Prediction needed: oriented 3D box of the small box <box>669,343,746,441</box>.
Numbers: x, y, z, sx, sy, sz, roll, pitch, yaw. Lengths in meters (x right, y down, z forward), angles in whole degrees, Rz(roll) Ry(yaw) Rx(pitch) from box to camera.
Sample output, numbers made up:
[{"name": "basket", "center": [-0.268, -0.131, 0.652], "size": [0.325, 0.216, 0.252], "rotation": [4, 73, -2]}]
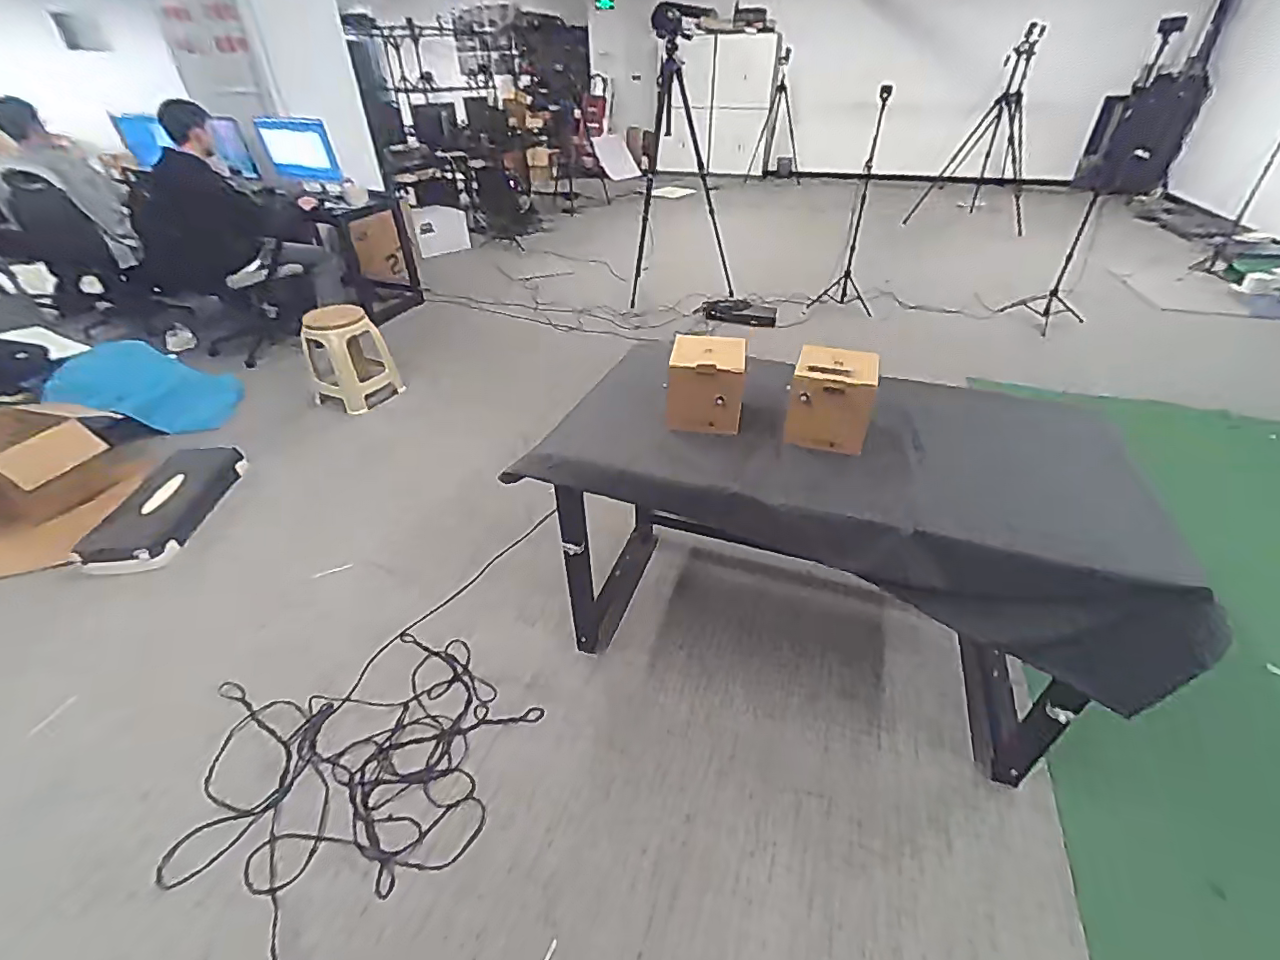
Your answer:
[{"name": "small box", "center": [0.158, -0.207, 1.268], "size": [0.168, 0.176, 0.179], "rotation": [6, 35, 7]}]
